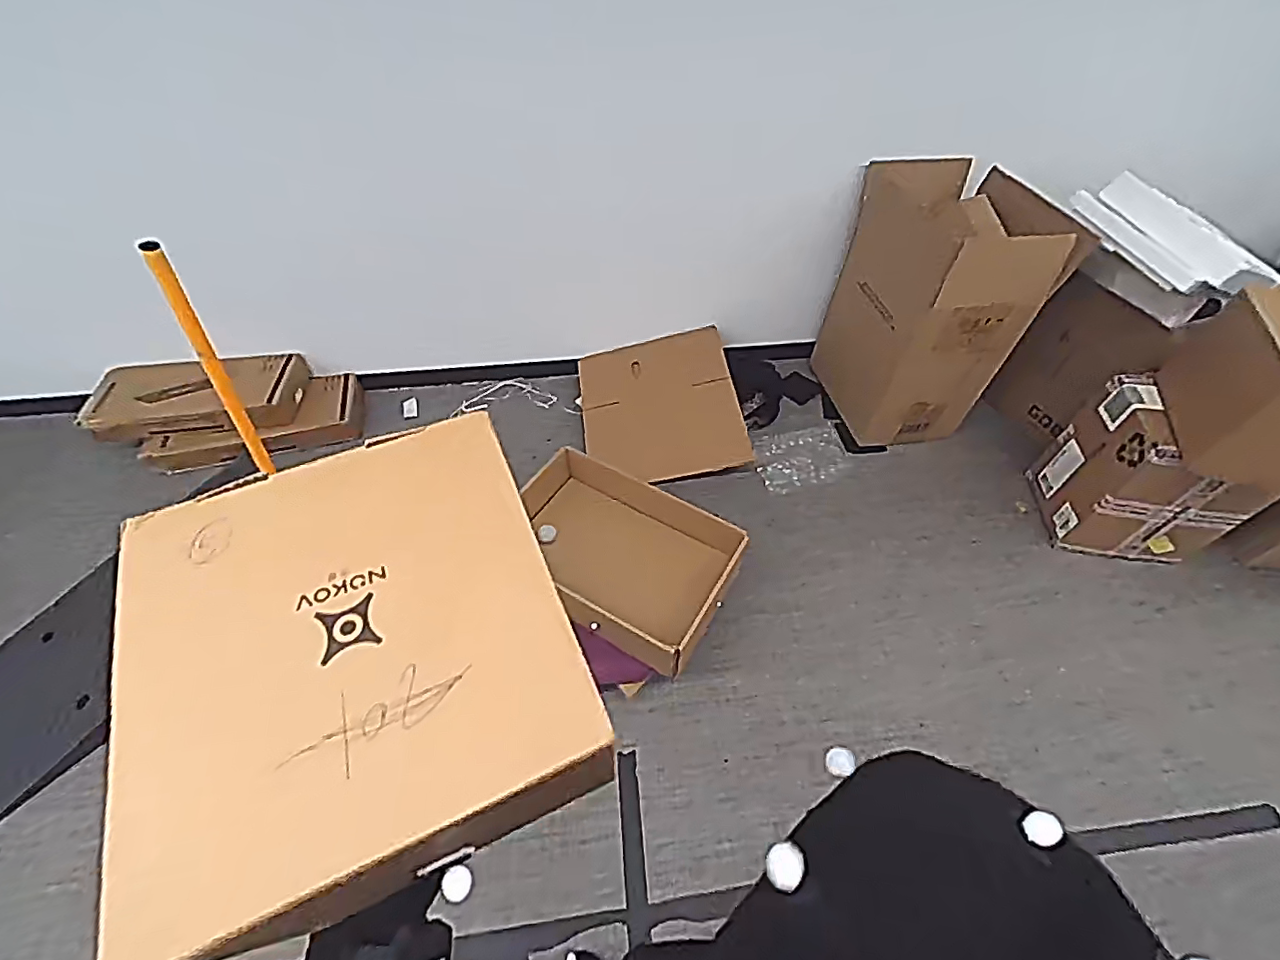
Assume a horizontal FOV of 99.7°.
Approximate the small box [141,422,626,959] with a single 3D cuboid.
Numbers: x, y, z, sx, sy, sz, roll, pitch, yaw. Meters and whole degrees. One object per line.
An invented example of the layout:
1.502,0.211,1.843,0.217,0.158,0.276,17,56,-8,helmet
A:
-0.117,0.103,0.296,0.168,0.176,0.179,-20,61,-14,small box
